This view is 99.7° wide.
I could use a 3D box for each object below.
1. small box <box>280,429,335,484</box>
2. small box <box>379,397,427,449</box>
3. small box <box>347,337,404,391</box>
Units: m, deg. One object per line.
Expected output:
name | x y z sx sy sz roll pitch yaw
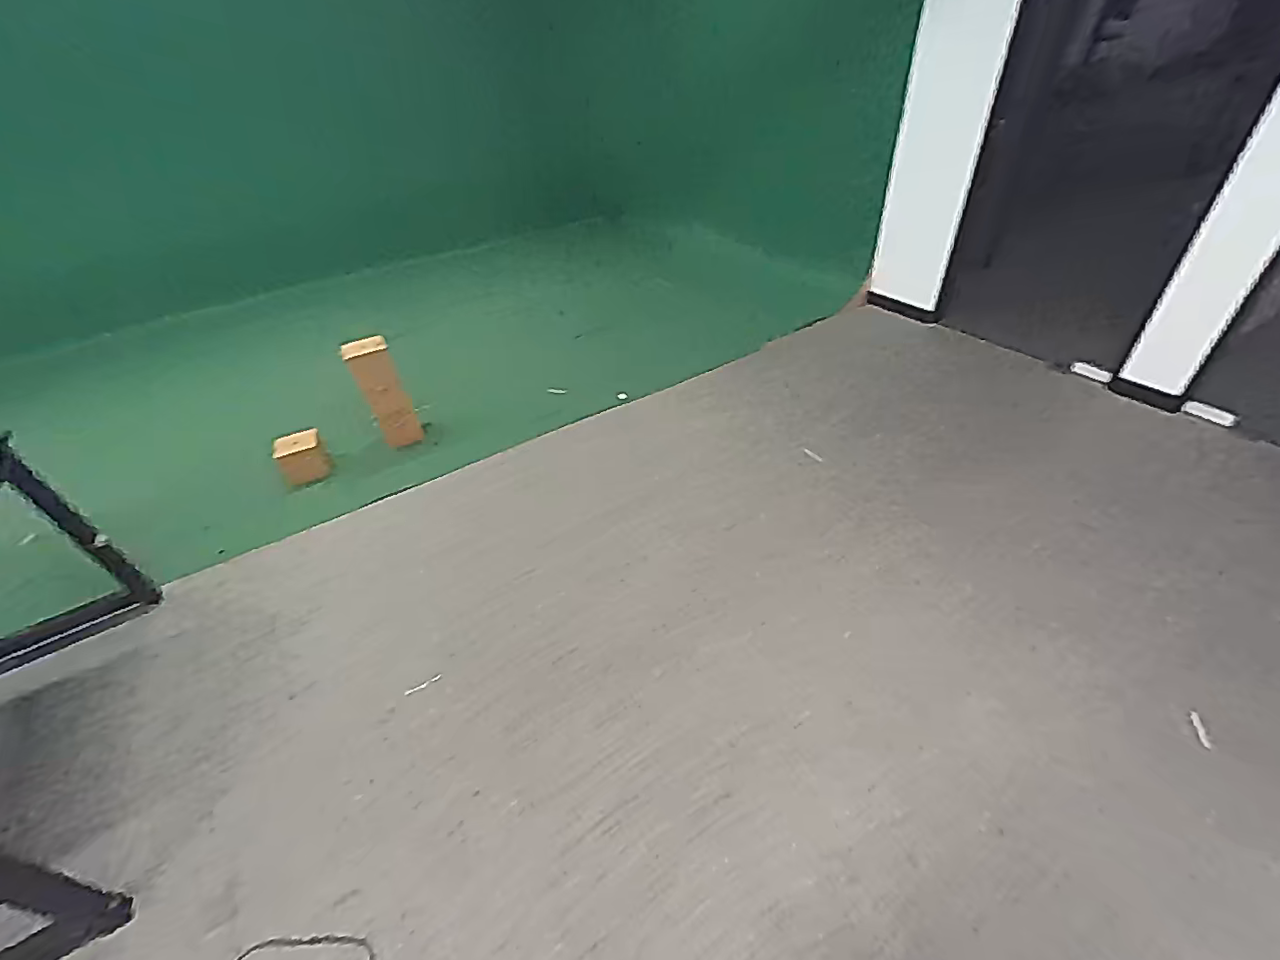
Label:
small box | -1.544 -0.109 2.522 0.179 0.176 0.168 -20 42 -16
small box | -1.172 -0.283 2.685 0.179 0.176 0.168 -22 43 -18
small box | -1.208 -0.528 2.470 0.179 0.176 0.168 -23 43 -18
